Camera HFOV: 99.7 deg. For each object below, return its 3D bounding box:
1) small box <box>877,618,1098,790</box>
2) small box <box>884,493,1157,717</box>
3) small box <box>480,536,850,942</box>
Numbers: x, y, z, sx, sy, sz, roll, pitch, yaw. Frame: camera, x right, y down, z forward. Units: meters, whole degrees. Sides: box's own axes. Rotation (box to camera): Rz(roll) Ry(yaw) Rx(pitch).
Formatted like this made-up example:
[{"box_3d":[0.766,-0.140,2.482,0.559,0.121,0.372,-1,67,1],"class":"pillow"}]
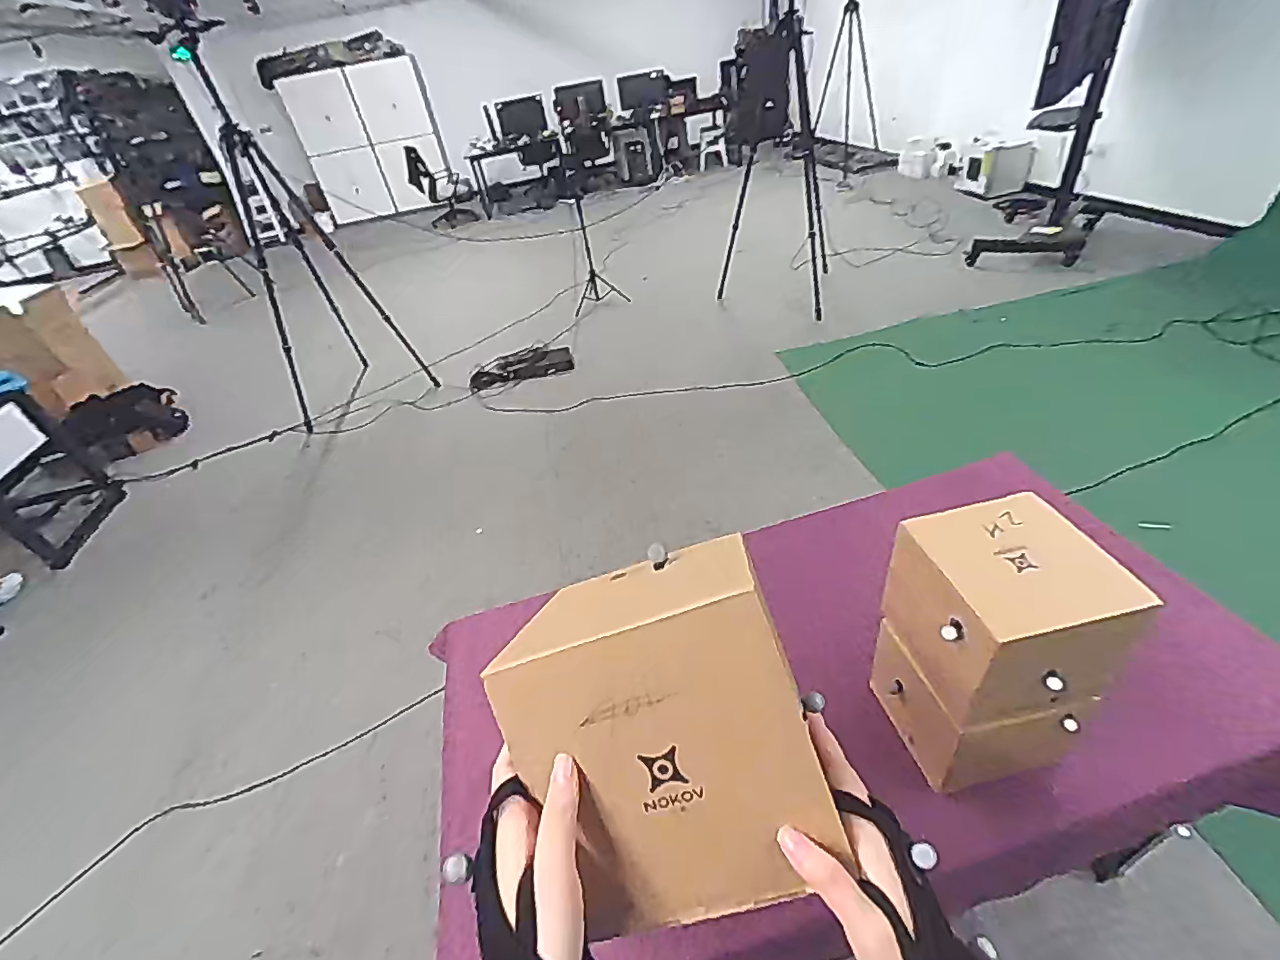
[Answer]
[{"box_3d":[0.432,0.276,0.712,0.179,0.176,0.168,-14,38,-3],"class":"small box"},{"box_3d":[0.404,0.145,0.616,0.168,0.176,0.179,-12,38,-2],"class":"small box"},{"box_3d":[0.023,0.157,0.379,0.168,0.179,0.176,-20,2,9],"class":"small box"}]
